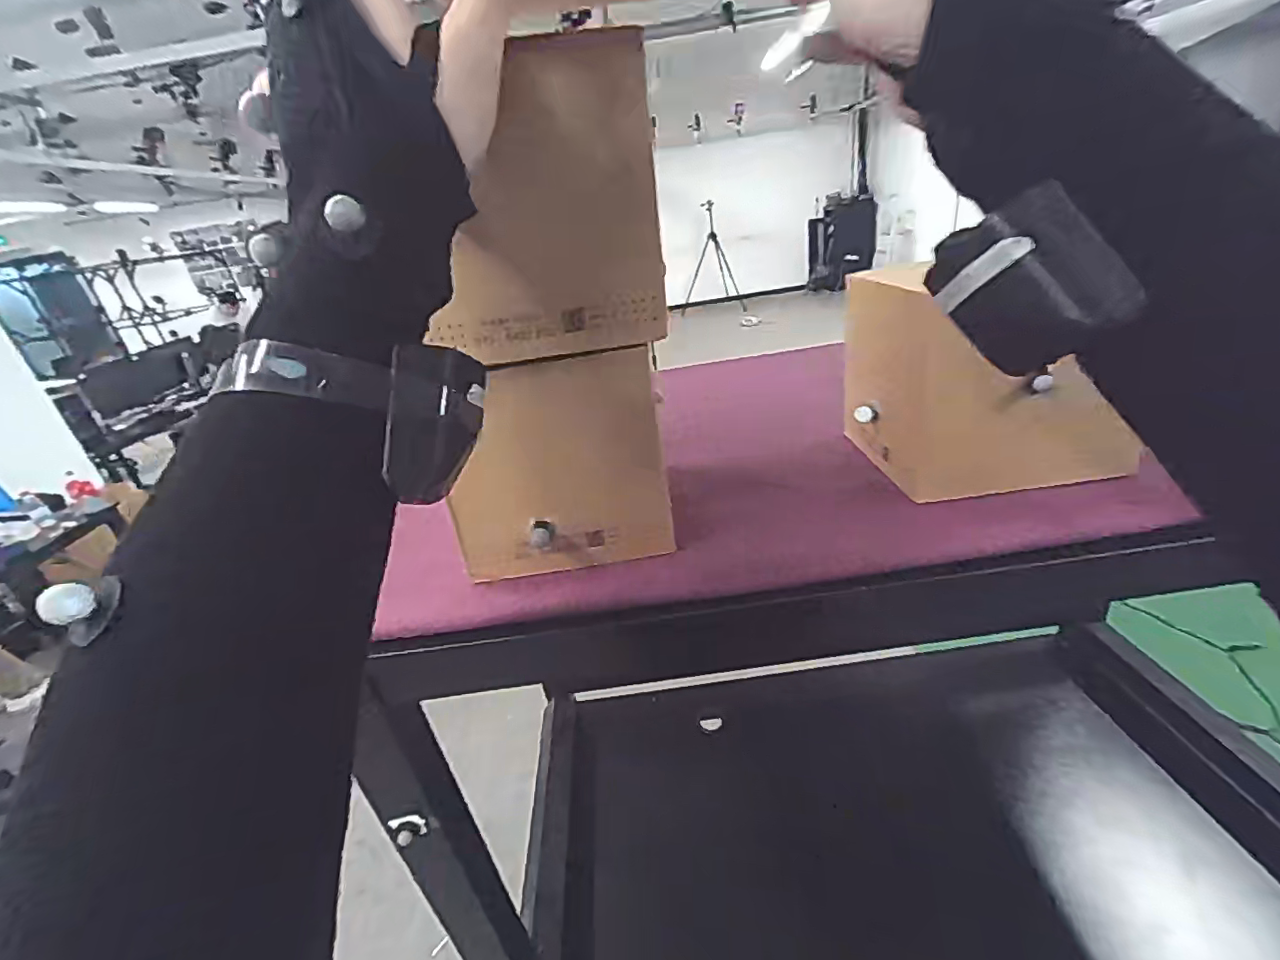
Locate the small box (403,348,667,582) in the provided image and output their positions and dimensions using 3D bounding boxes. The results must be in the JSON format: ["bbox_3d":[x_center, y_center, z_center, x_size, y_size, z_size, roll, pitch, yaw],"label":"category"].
[{"bbox_3d":[-0.073,-0.036,0.468,0.168,0.176,0.179,-9,25,0],"label":"small box"}]

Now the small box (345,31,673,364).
[{"bbox_3d":[-0.078,-0.186,0.391,0.168,0.176,0.179,-10,24,-7],"label":"small box"}]

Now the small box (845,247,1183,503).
[{"bbox_3d":[0.291,-0.096,0.471,0.179,0.176,0.168,-9,25,3],"label":"small box"}]
